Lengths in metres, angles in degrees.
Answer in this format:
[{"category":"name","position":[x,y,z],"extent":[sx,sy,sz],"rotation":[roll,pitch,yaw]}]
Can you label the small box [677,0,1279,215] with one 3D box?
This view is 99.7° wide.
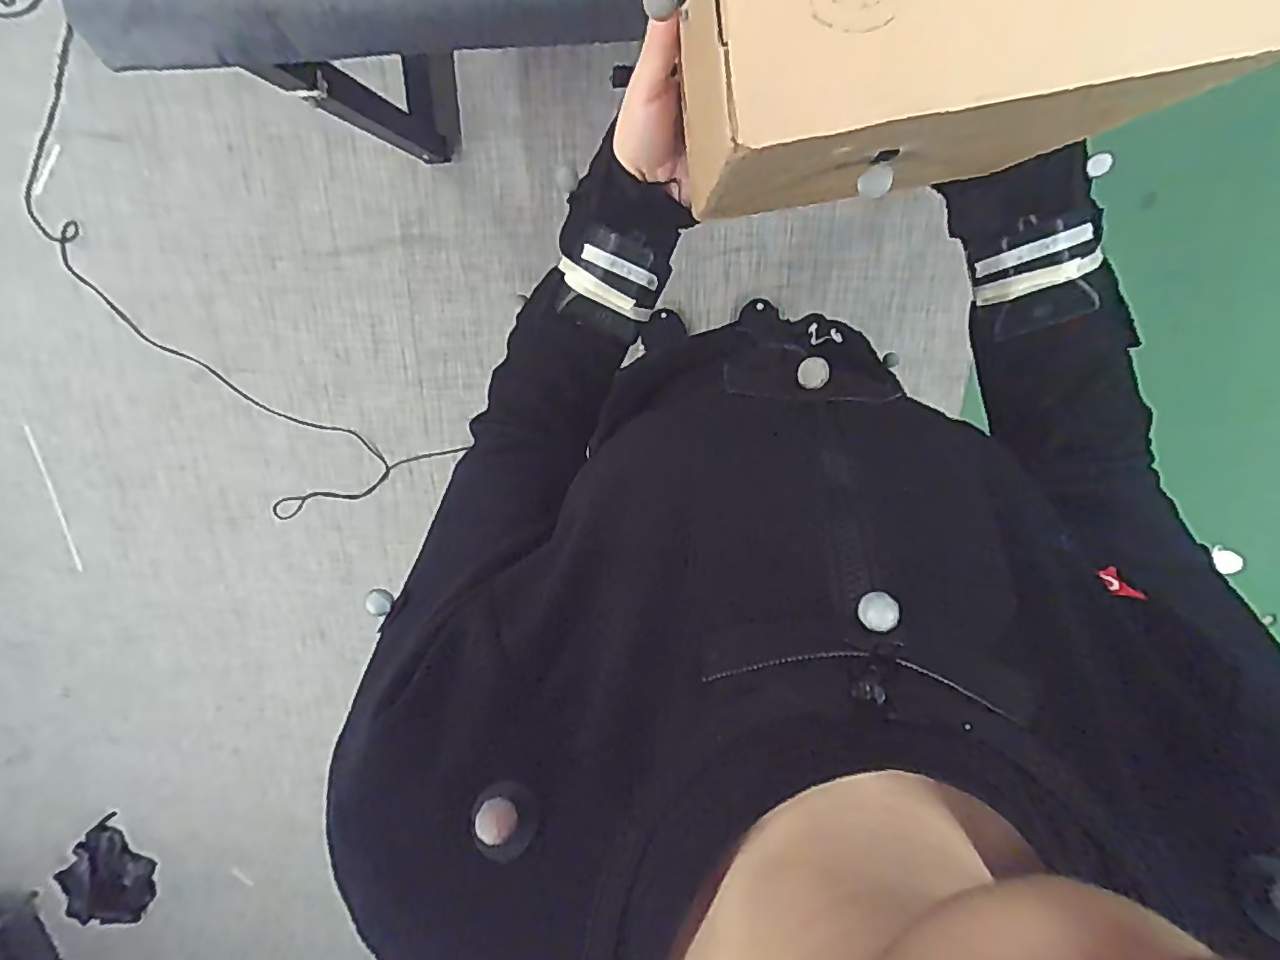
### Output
[{"category":"small box","position":[0.104,-0.218,0.219],"extent":[0.179,0.176,0.168],"rotation":[-8,108,5]}]
